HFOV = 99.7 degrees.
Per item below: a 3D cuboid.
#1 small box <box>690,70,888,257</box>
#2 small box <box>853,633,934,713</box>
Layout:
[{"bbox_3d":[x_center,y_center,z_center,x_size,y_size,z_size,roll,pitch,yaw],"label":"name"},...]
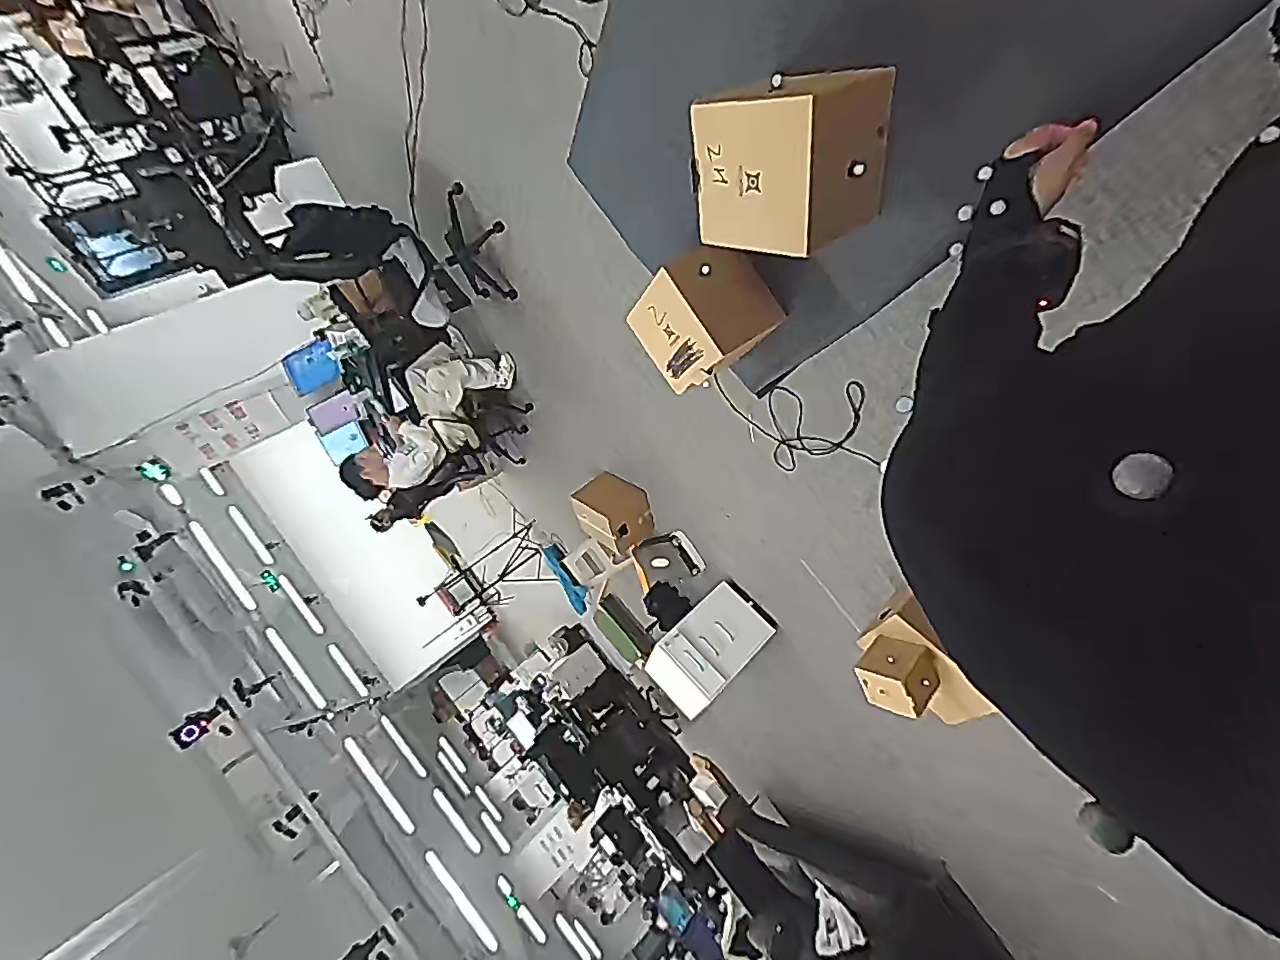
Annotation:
[{"bbox_3d":[0.190,-0.407,0.694,0.179,0.176,0.168,30,144,39],"label":"small box"},{"bbox_3d":[0.857,0.638,1.812,0.179,0.176,0.168,-2,120,56],"label":"small box"}]
